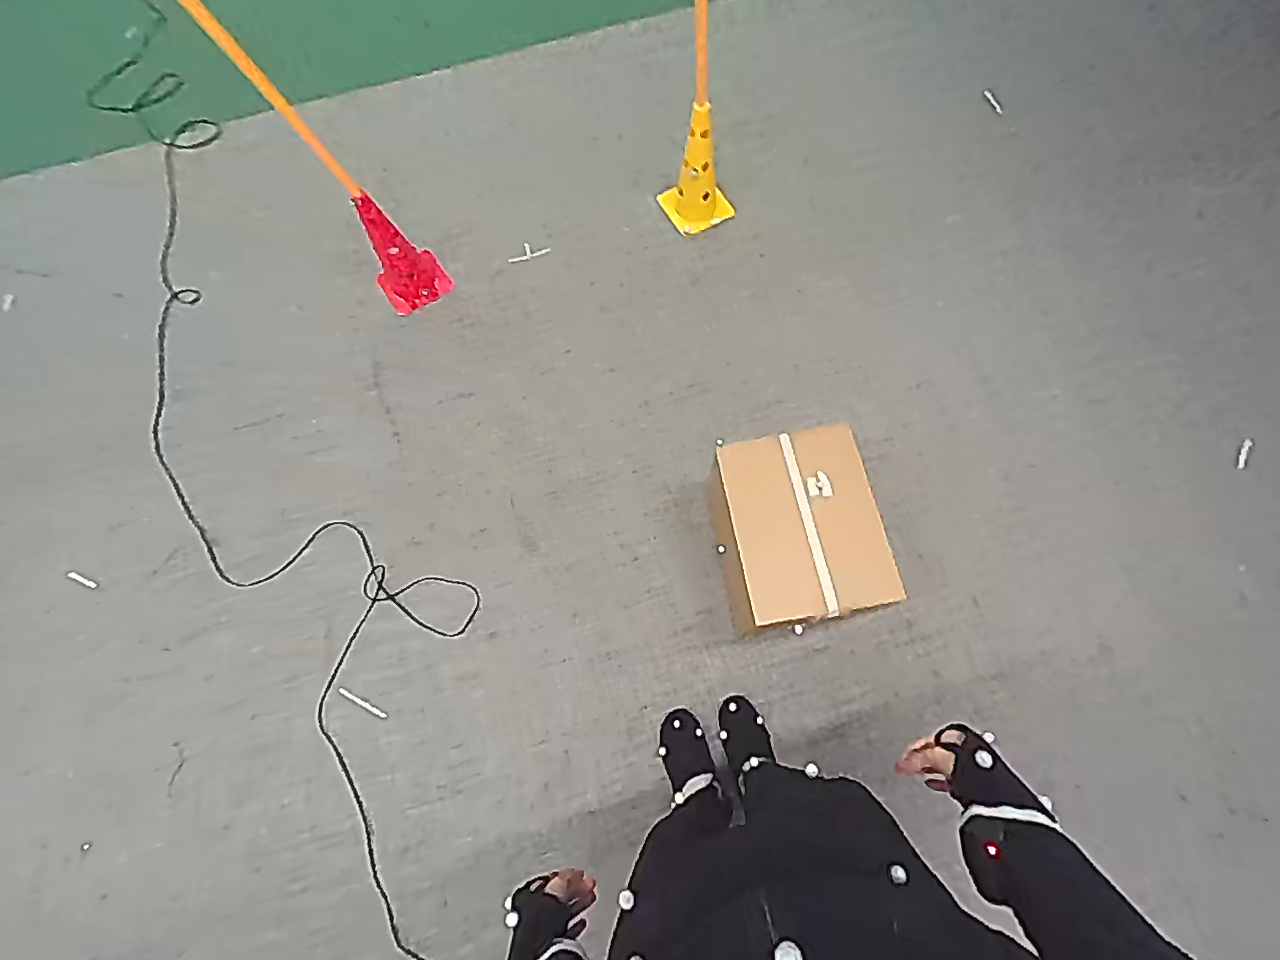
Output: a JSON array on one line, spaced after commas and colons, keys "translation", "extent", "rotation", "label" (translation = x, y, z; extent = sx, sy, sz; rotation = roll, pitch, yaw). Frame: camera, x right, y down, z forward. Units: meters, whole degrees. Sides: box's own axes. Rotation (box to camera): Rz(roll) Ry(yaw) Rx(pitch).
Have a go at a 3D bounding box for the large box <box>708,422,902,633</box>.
[{"translation": [0.360, 0.129, 1.305], "extent": [0.320, 0.320, 0.408], "rotation": [-10, 69, -1], "label": "large box"}]
